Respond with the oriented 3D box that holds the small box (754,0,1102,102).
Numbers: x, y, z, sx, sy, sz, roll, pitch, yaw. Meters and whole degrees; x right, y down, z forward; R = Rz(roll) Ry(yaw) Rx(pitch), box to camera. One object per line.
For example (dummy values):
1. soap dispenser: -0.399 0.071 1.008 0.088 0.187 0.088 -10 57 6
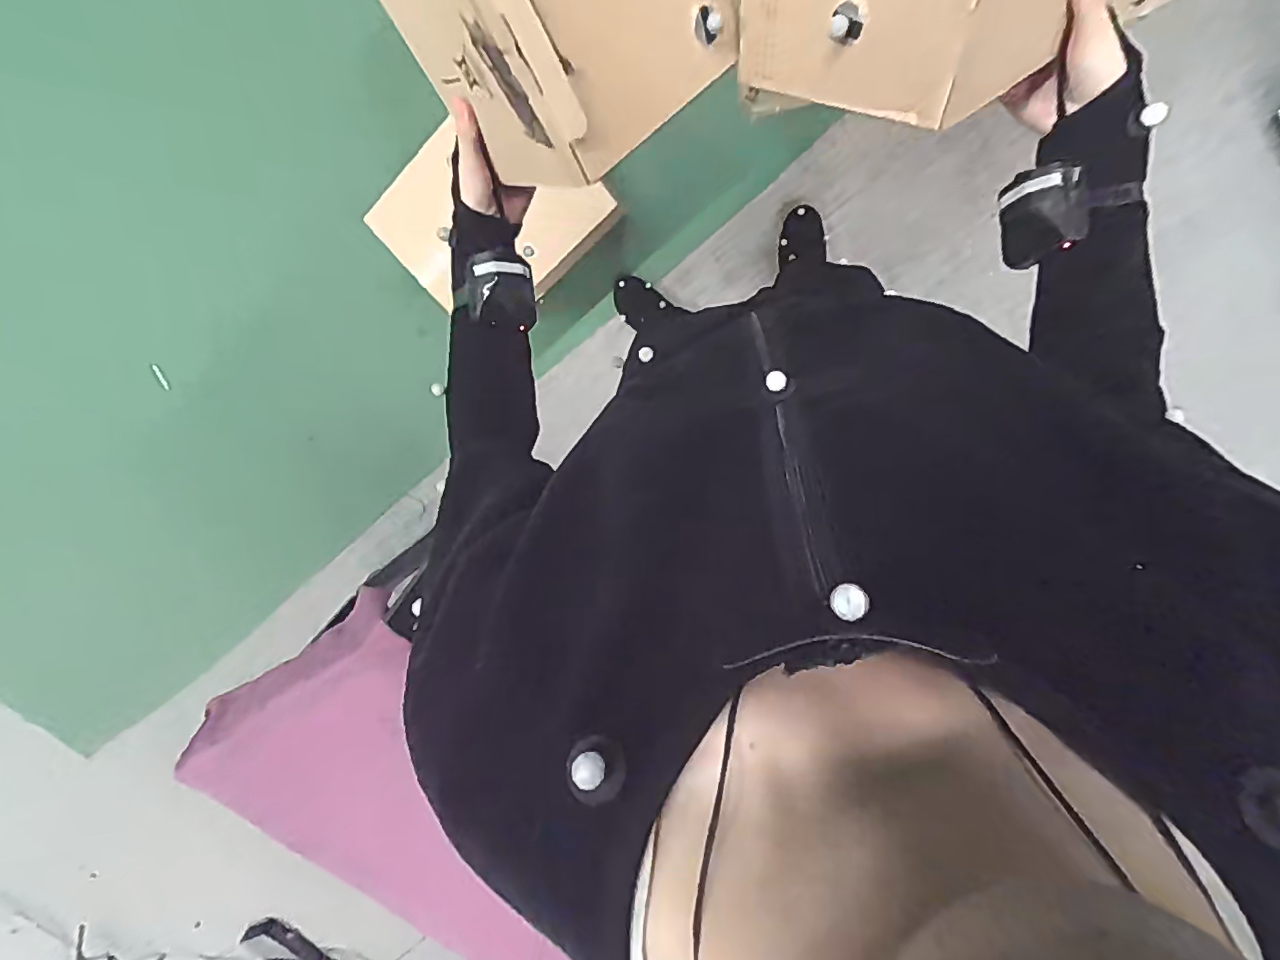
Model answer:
1. small box: 0.190 -0.365 0.328 0.179 0.176 0.168 -37 148 -20
